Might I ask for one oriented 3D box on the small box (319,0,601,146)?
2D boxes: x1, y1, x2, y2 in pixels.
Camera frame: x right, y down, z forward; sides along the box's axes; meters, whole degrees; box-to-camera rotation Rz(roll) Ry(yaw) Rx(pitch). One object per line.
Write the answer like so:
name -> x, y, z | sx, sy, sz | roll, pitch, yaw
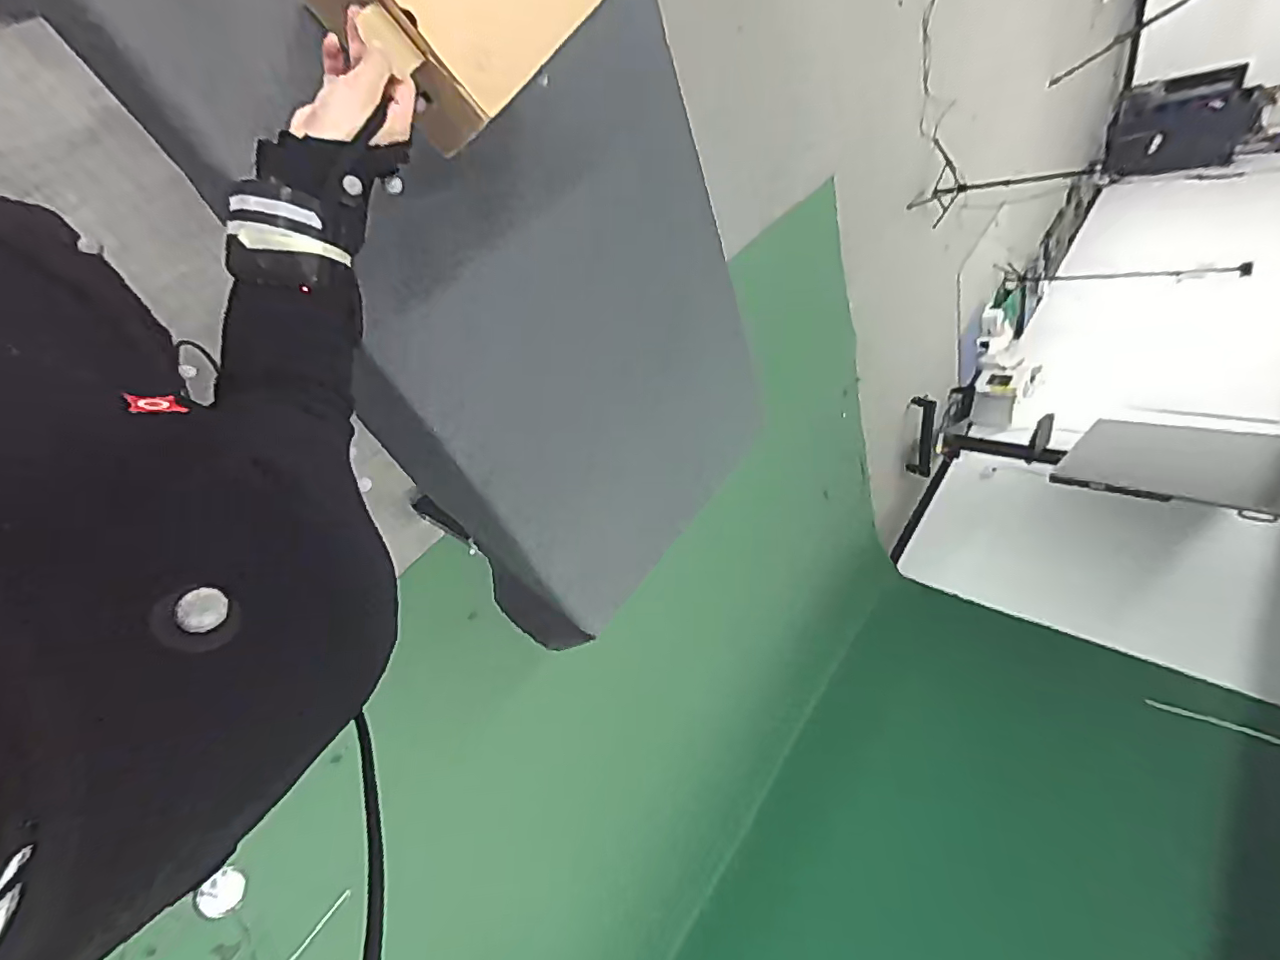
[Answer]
small box -> -0.161, -0.431, 0.470 | 0.179, 0.176, 0.168 | -53, 128, -7
